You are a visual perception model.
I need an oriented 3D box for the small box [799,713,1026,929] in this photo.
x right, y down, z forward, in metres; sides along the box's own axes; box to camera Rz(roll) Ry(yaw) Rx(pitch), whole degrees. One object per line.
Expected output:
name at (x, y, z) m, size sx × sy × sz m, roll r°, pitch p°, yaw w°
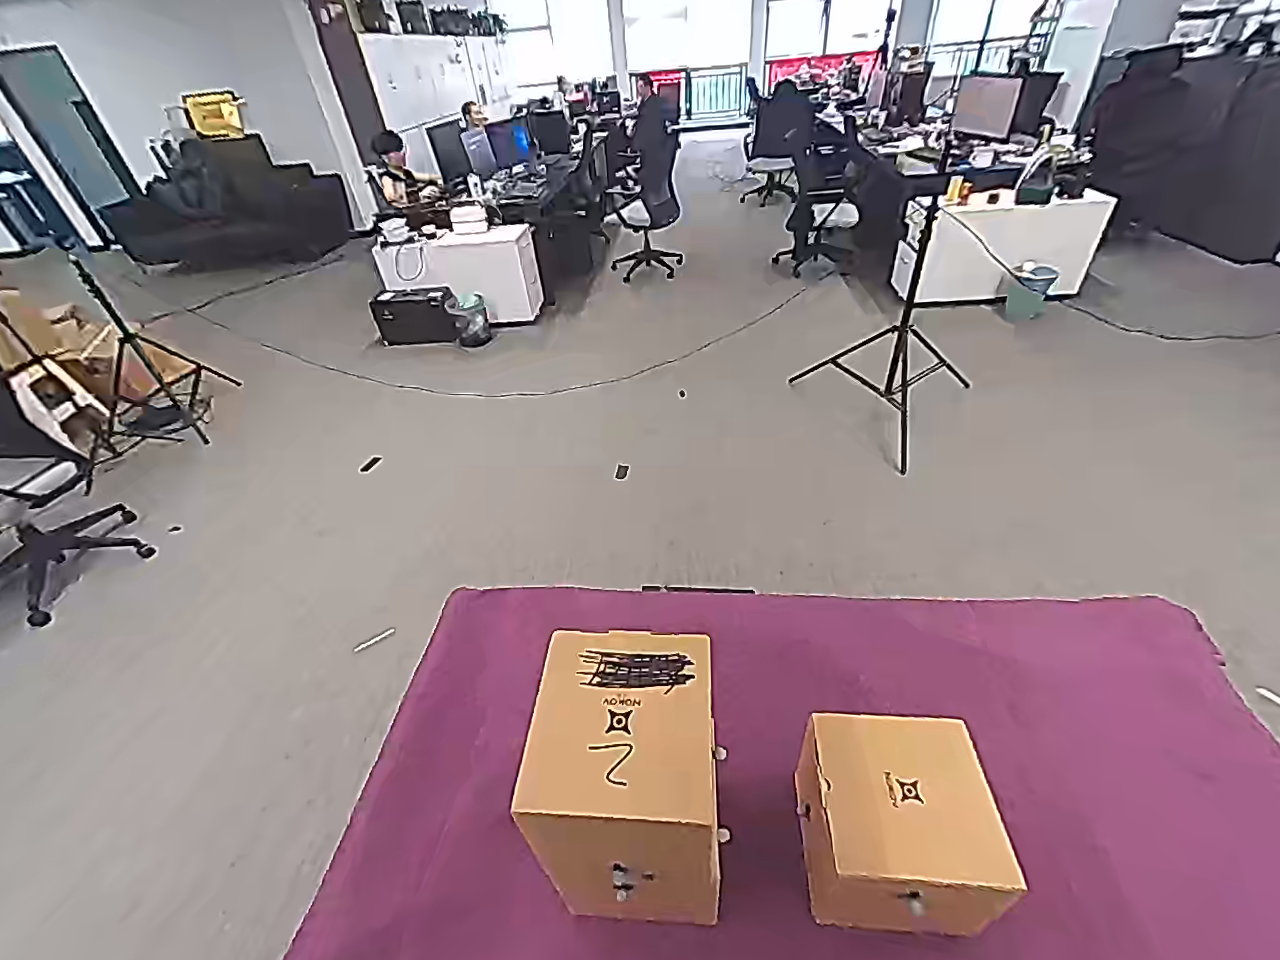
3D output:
small box at (0.291, 0.393, 0.626) m, size 0.179 × 0.176 × 0.168 m, roll -1°, pitch 39°, yaw 7°

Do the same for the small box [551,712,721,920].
small box at (0.007, 0.402, 0.650) m, size 0.179 × 0.176 × 0.168 m, roll 0°, pitch 39°, yaw 6°
